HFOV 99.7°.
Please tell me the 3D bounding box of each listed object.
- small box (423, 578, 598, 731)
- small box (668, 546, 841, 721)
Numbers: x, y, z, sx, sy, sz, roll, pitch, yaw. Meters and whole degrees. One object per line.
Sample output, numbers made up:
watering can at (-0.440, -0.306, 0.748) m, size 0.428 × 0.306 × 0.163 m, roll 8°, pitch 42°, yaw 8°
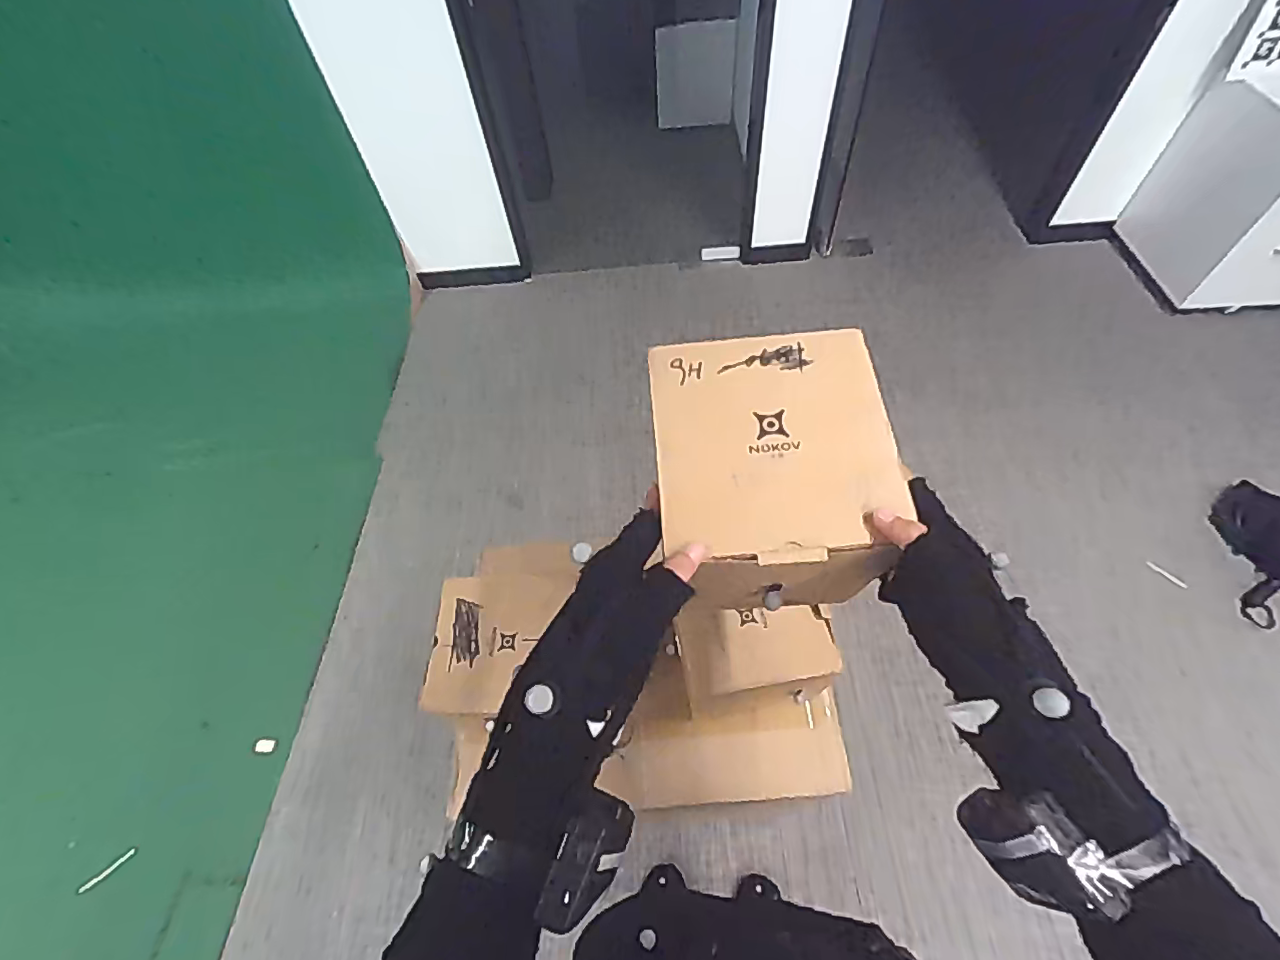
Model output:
small box at (-0.160, 0.241, 0.730) m, size 0.179 × 0.176 × 0.168 m, roll -2°, pitch 58°, yaw 4°
small box at (0.139, 0.210, 0.723) m, size 0.179 × 0.176 × 0.168 m, roll -12°, pitch 57°, yaw -1°
